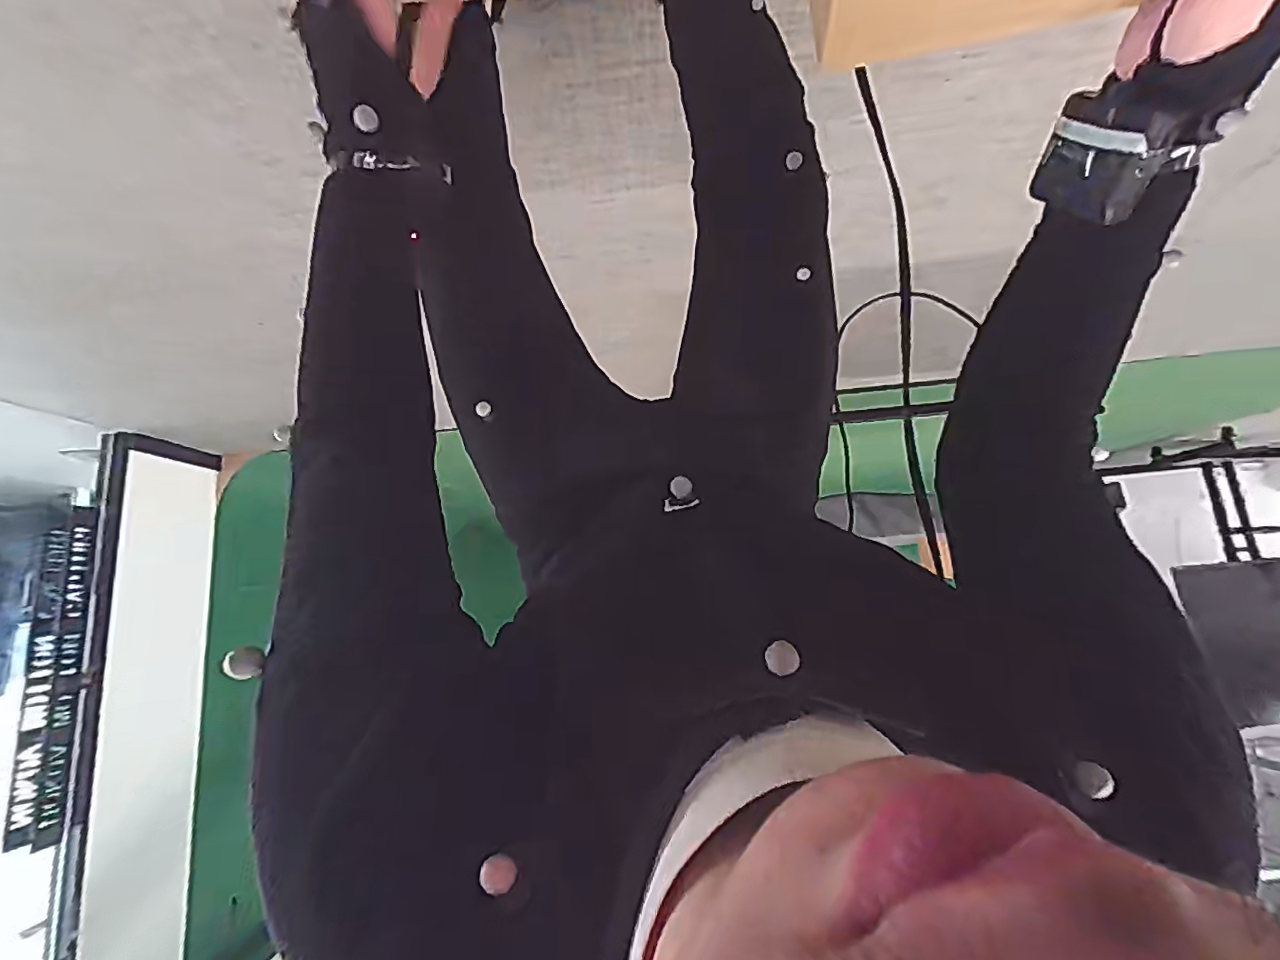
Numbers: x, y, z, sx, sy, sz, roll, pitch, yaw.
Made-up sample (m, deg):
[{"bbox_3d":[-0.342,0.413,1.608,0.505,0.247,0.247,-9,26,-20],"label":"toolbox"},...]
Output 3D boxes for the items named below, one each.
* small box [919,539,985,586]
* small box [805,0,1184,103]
[{"bbox_3d":[1.271,0.338,2.218,0.168,0.176,0.179,-8,167,7],"label":"small box"},{"bbox_3d":[0.171,-0.317,0.235,0.179,0.176,0.168,-4,171,8],"label":"small box"}]
